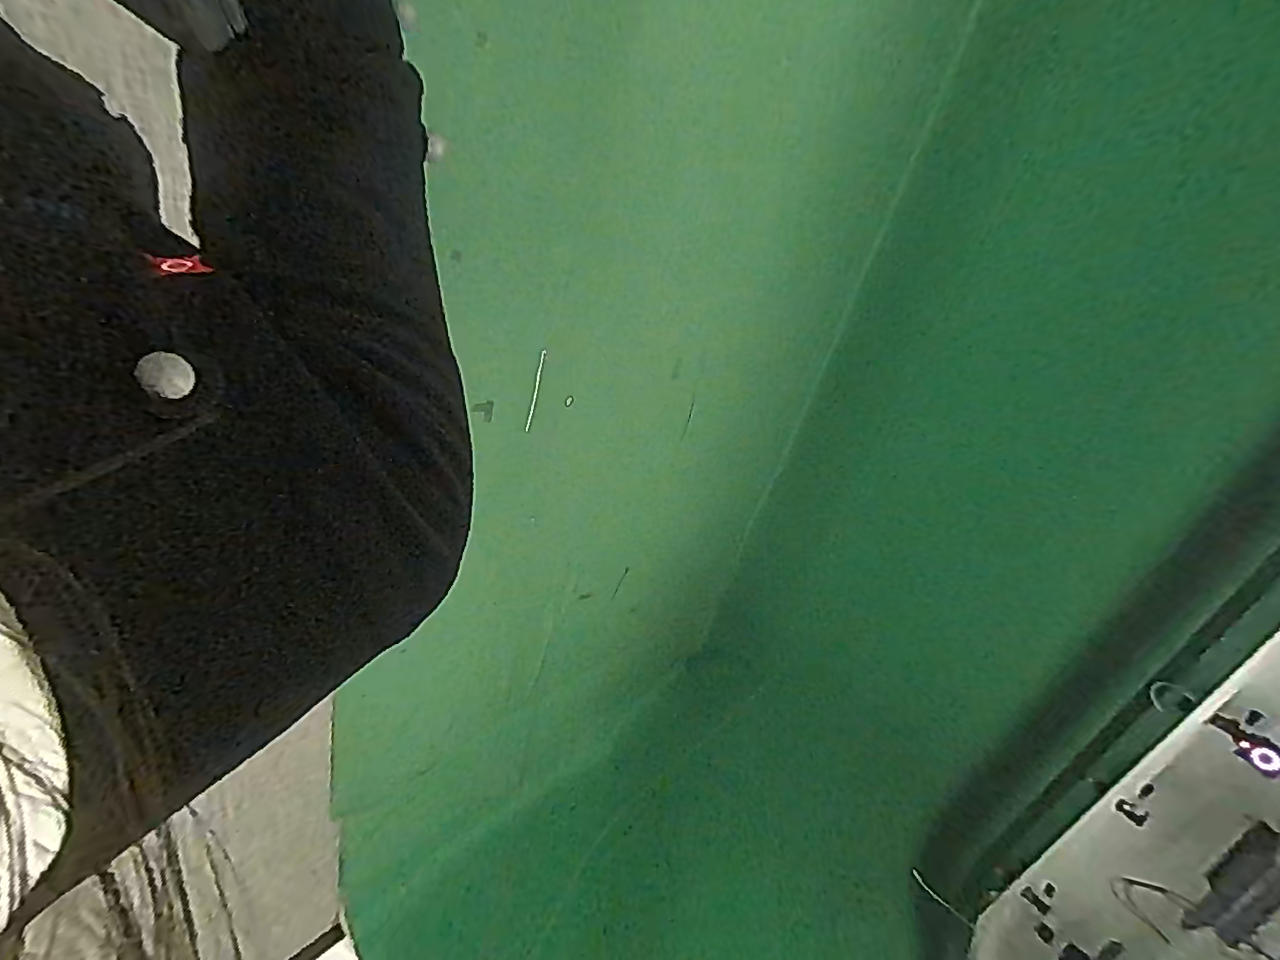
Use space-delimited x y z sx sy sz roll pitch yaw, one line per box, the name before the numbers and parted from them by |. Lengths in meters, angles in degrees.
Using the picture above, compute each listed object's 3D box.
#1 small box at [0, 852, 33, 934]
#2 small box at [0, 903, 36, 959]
small box | -1.662 1.087 1.340 0.179 0.176 0.168 -17 132 -49
small box | -1.544 1.152 1.253 0.179 0.176 0.168 -17 130 -47
